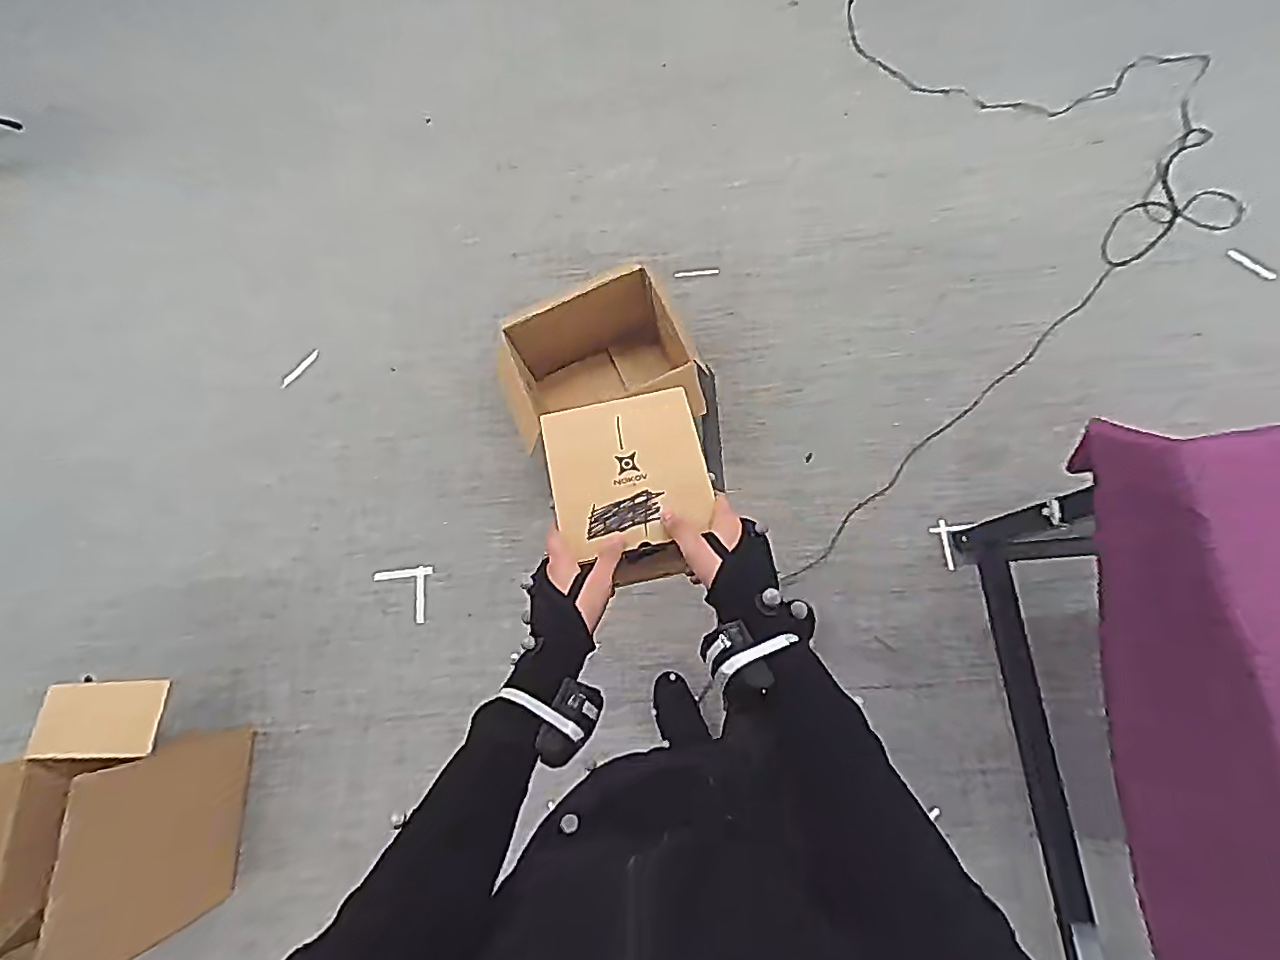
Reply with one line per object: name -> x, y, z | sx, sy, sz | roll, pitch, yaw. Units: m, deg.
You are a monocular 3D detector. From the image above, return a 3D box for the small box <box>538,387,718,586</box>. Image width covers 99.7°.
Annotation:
small box -> -0.013, 0.020, 0.644 | 0.168, 0.176, 0.179 | -13, 68, -3
